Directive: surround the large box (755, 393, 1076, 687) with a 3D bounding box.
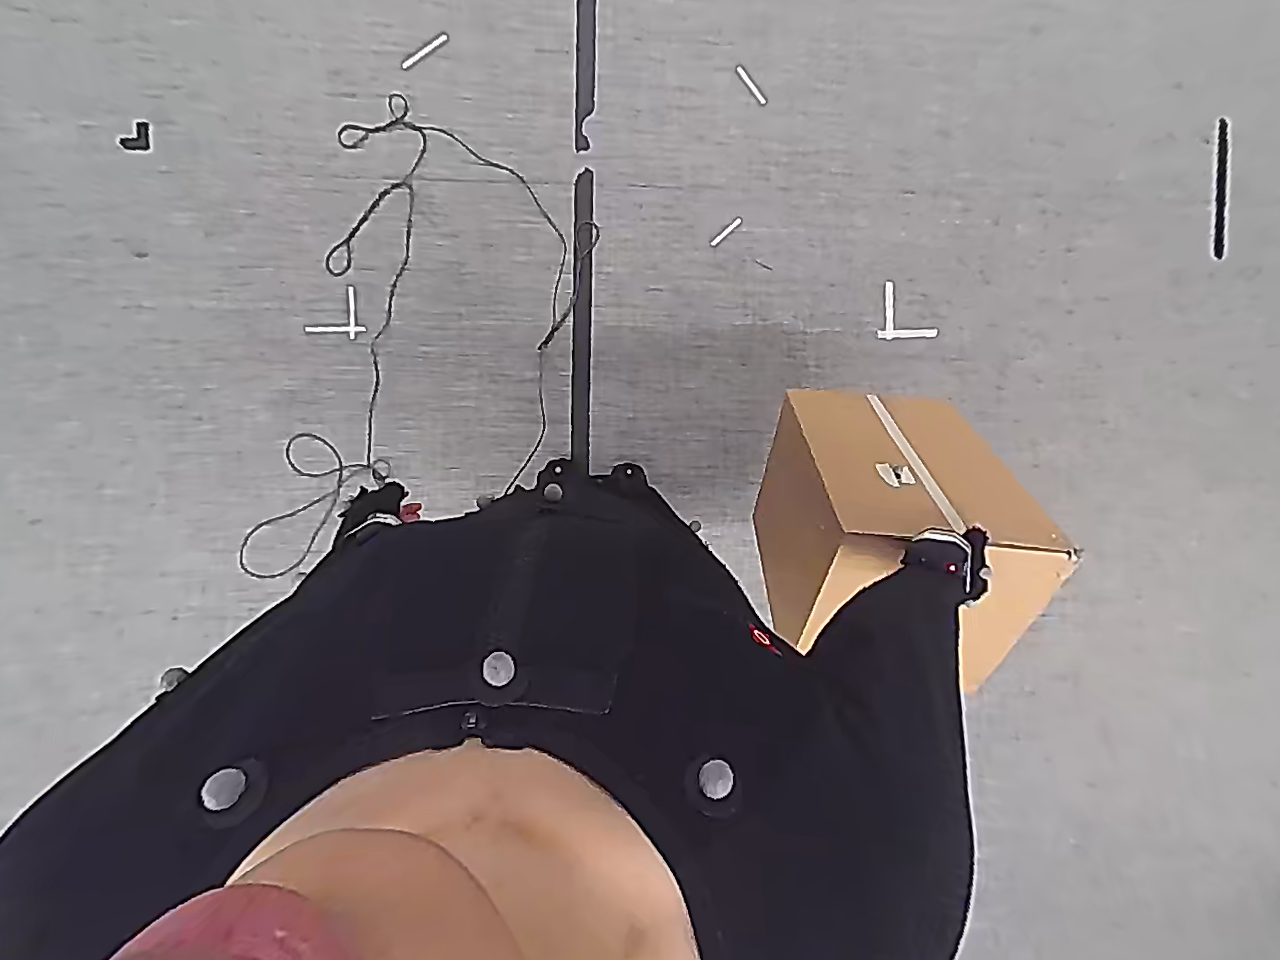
[{"bbox_3d":[0.413,0.089,0.951,0.320,0.408,0.320,5,127,-1],"label":"large box"}]
